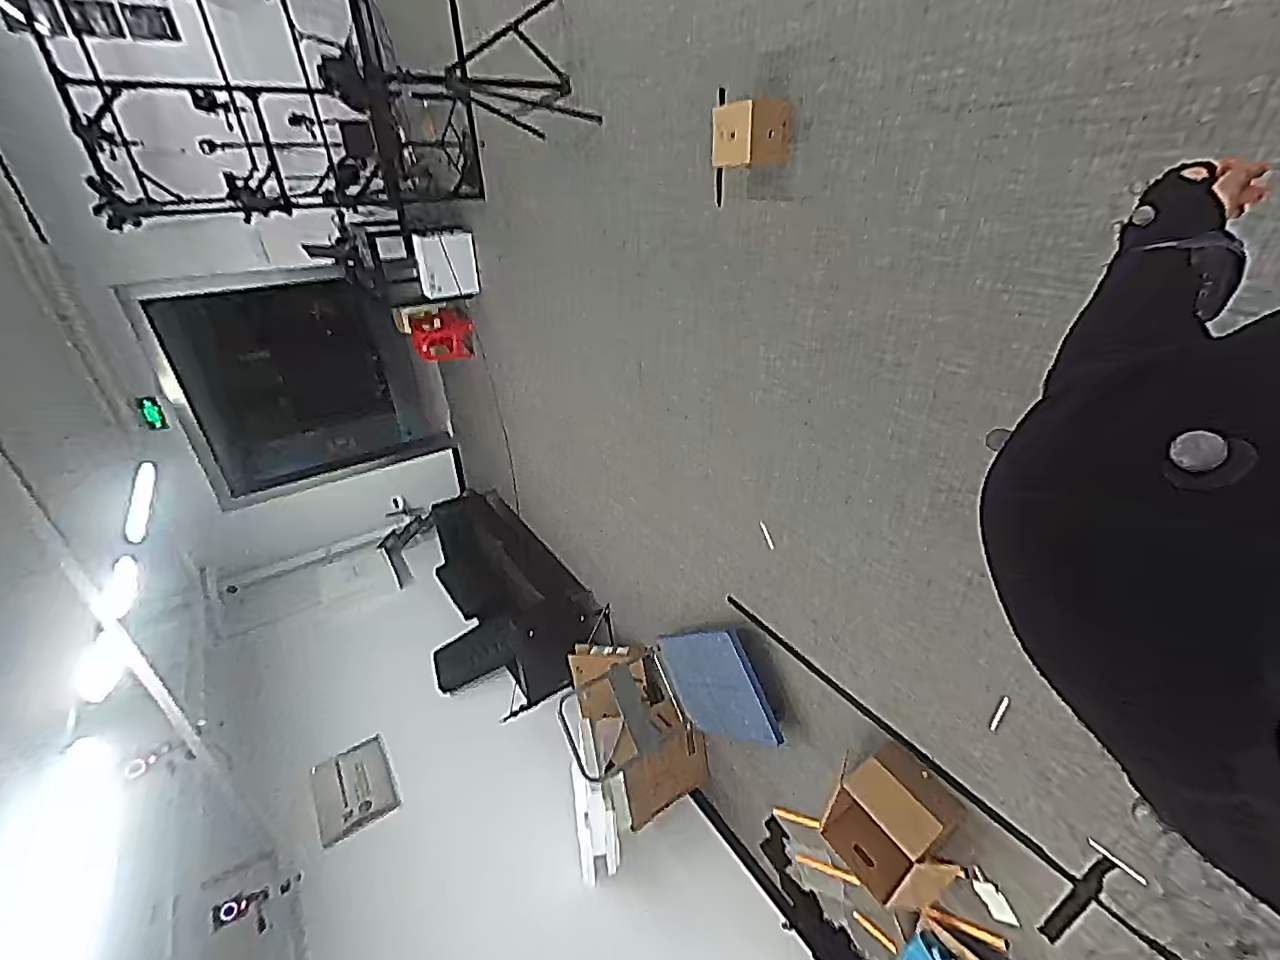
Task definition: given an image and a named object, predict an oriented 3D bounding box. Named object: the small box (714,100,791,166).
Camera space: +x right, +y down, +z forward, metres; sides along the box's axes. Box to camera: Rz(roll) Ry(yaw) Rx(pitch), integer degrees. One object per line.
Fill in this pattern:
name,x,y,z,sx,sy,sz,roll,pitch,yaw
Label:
small box,0.354,-1.096,1.711,0.179,0.176,0.168,34,135,48
